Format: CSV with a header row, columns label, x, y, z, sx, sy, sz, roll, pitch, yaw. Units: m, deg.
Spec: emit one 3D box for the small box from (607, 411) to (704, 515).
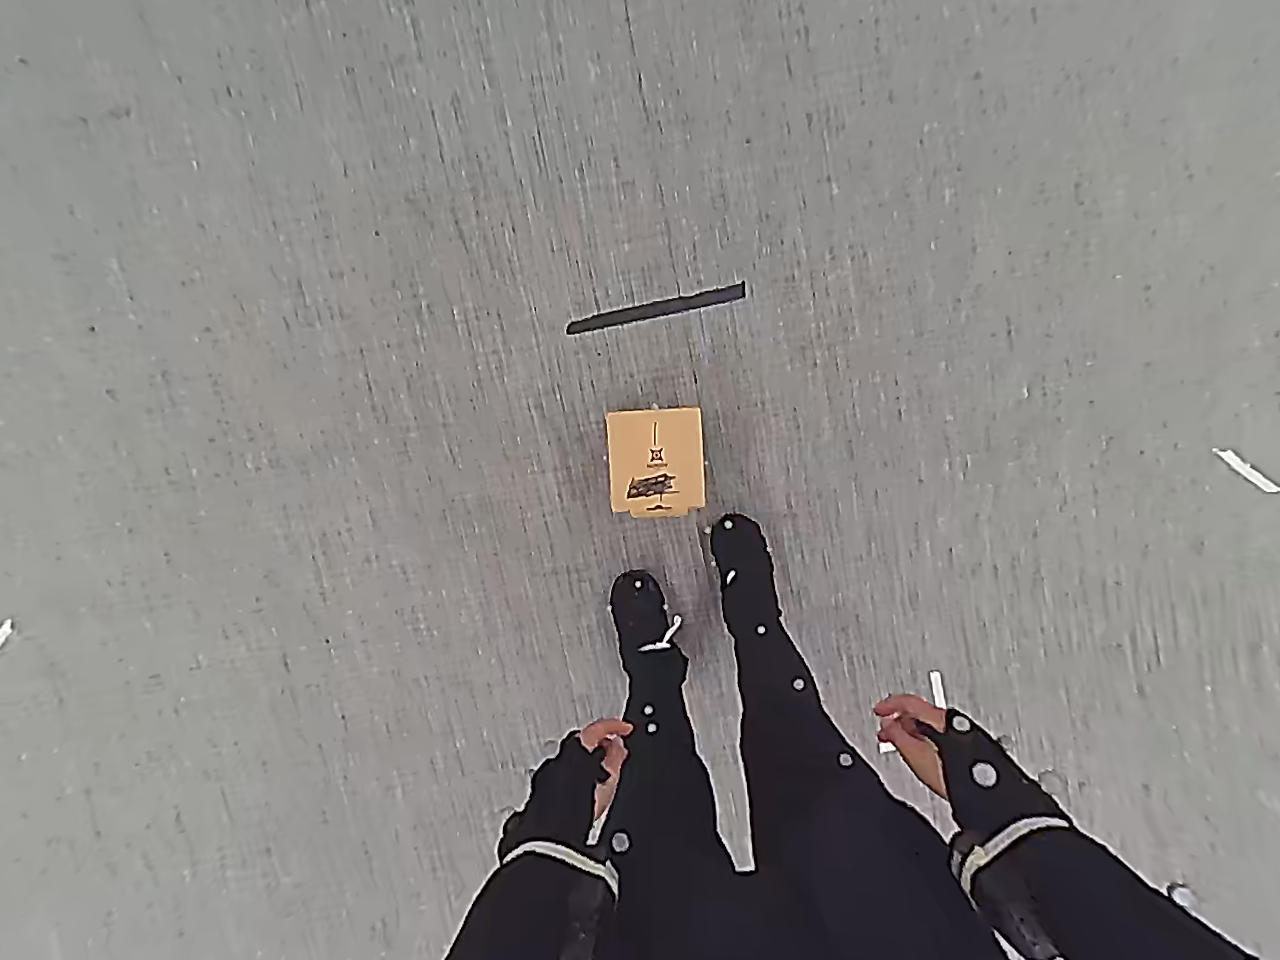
label,x,y,z,sx,sy,sz,roll,pitch,yaw
small box,0.029,-0.035,1.014,0.168,0.176,0.179,-3,94,0
